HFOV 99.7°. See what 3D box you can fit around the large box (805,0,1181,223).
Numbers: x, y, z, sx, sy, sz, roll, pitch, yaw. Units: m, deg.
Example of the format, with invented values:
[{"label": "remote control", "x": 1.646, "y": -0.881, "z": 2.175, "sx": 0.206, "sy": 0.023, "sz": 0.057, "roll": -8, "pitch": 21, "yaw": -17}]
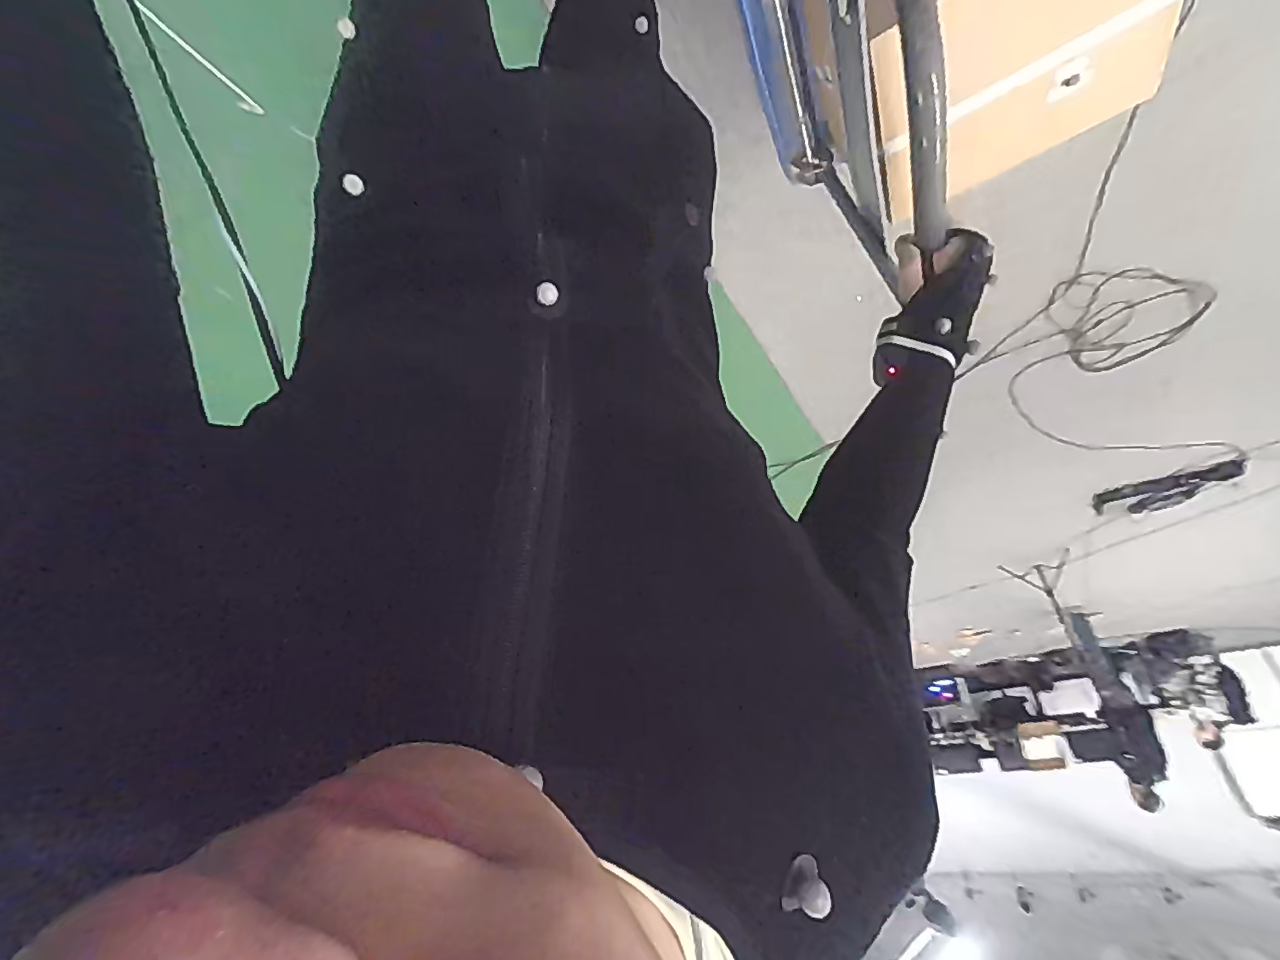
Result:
[{"label": "large box", "x": 0.533, "y": -0.716, "z": 0.869, "sx": 0.408, "sy": 0.320, "sz": 0.320, "roll": -23, "pitch": 144, "yaw": 17}]
